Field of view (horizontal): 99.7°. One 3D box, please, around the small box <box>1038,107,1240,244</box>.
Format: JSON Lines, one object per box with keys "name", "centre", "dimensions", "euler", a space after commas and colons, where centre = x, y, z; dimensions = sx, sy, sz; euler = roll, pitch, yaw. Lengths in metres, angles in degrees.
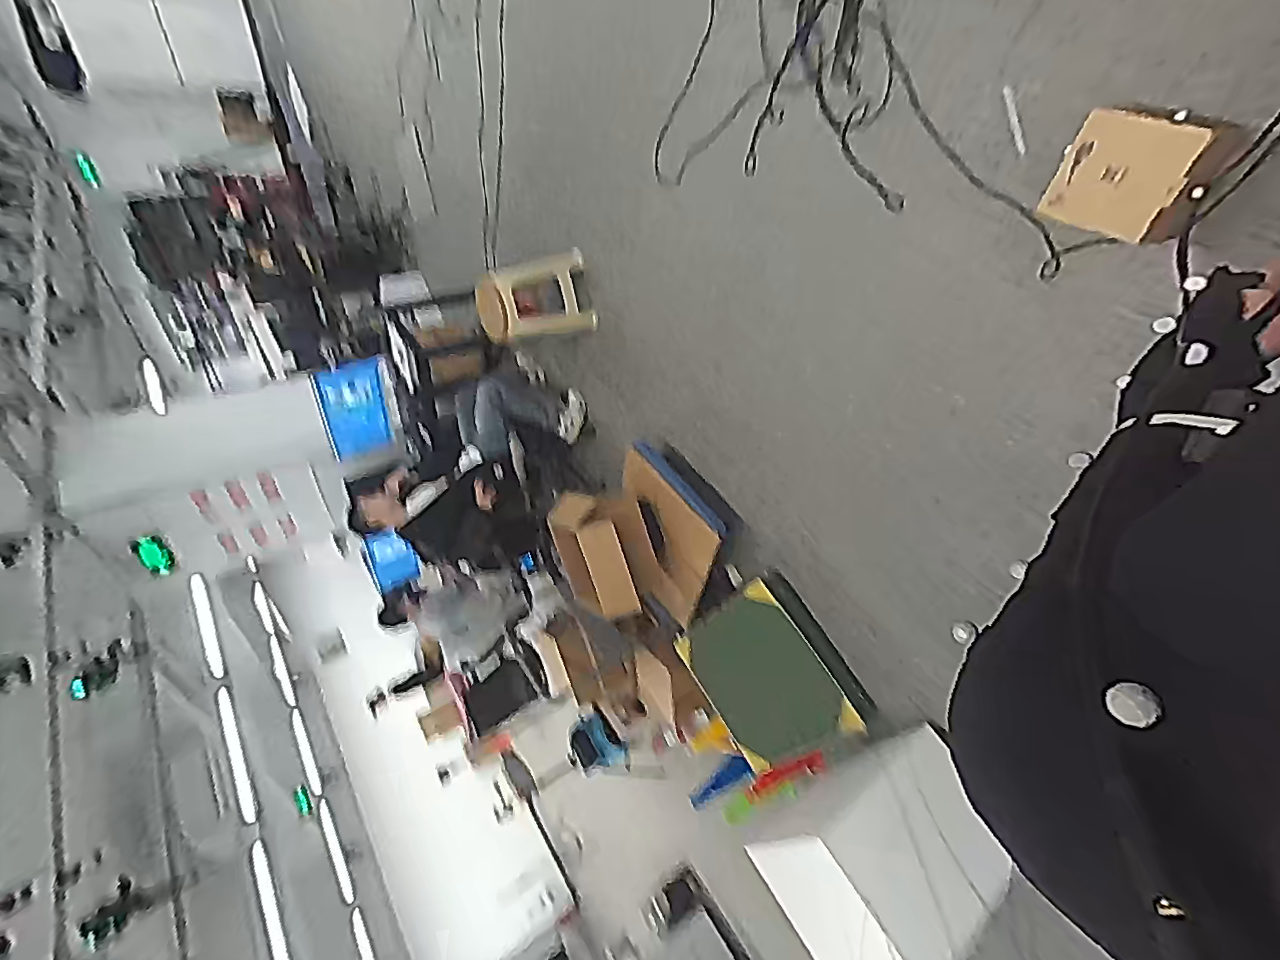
{"name": "small box", "centre": [0.850, -0.525, 0.925], "dimensions": [0.179, 0.176, 0.168], "euler": [46, 143, 34]}
